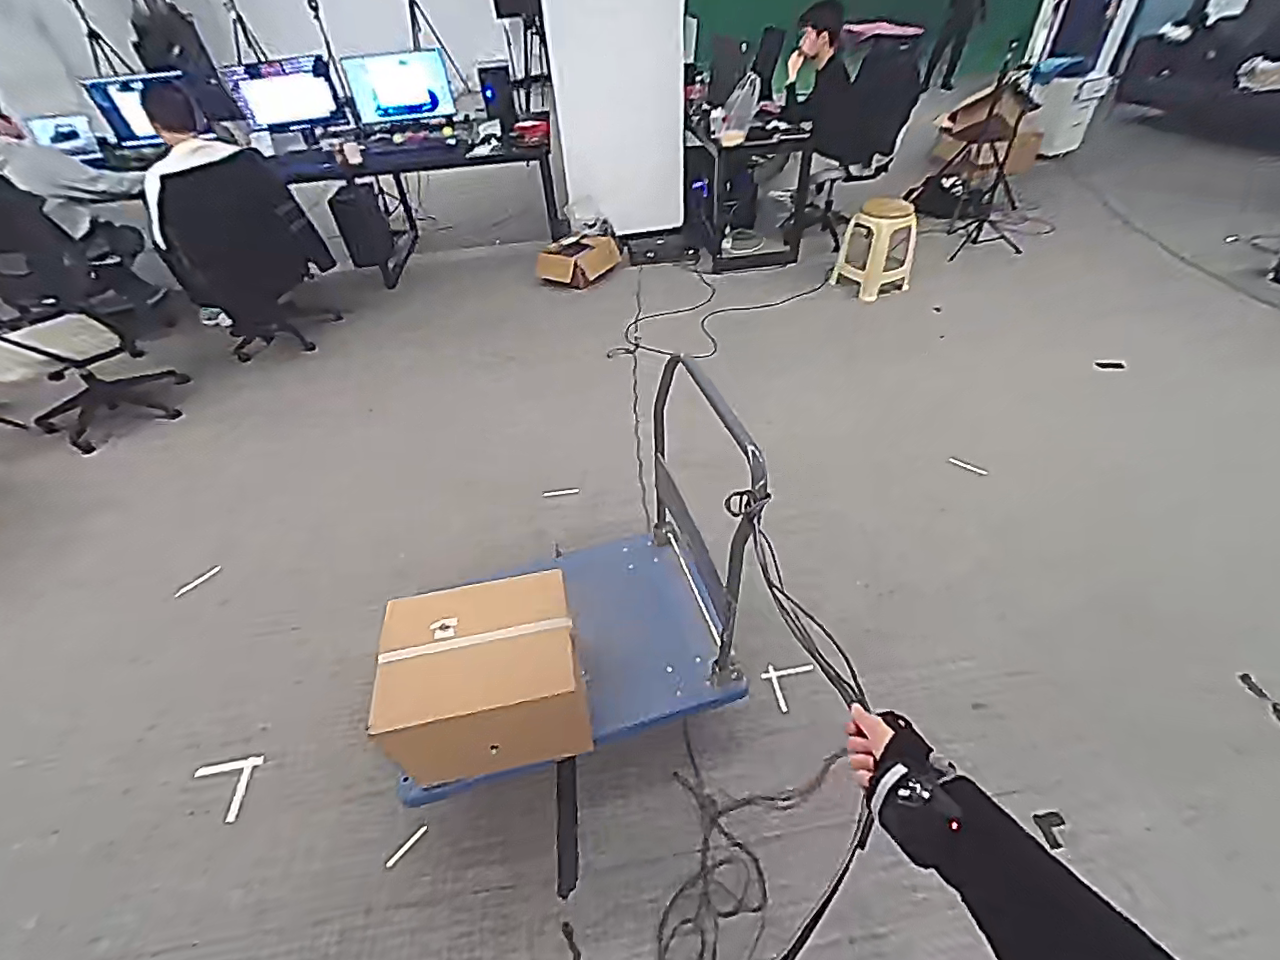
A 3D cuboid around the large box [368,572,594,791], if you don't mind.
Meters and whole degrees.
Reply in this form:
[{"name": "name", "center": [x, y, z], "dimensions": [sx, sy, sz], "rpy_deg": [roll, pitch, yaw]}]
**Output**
[{"name": "large box", "center": [-0.342, 0.462, 1.247], "dimensions": [0.408, 0.320, 0.320], "rpy_deg": [-11, 43, -6]}]
